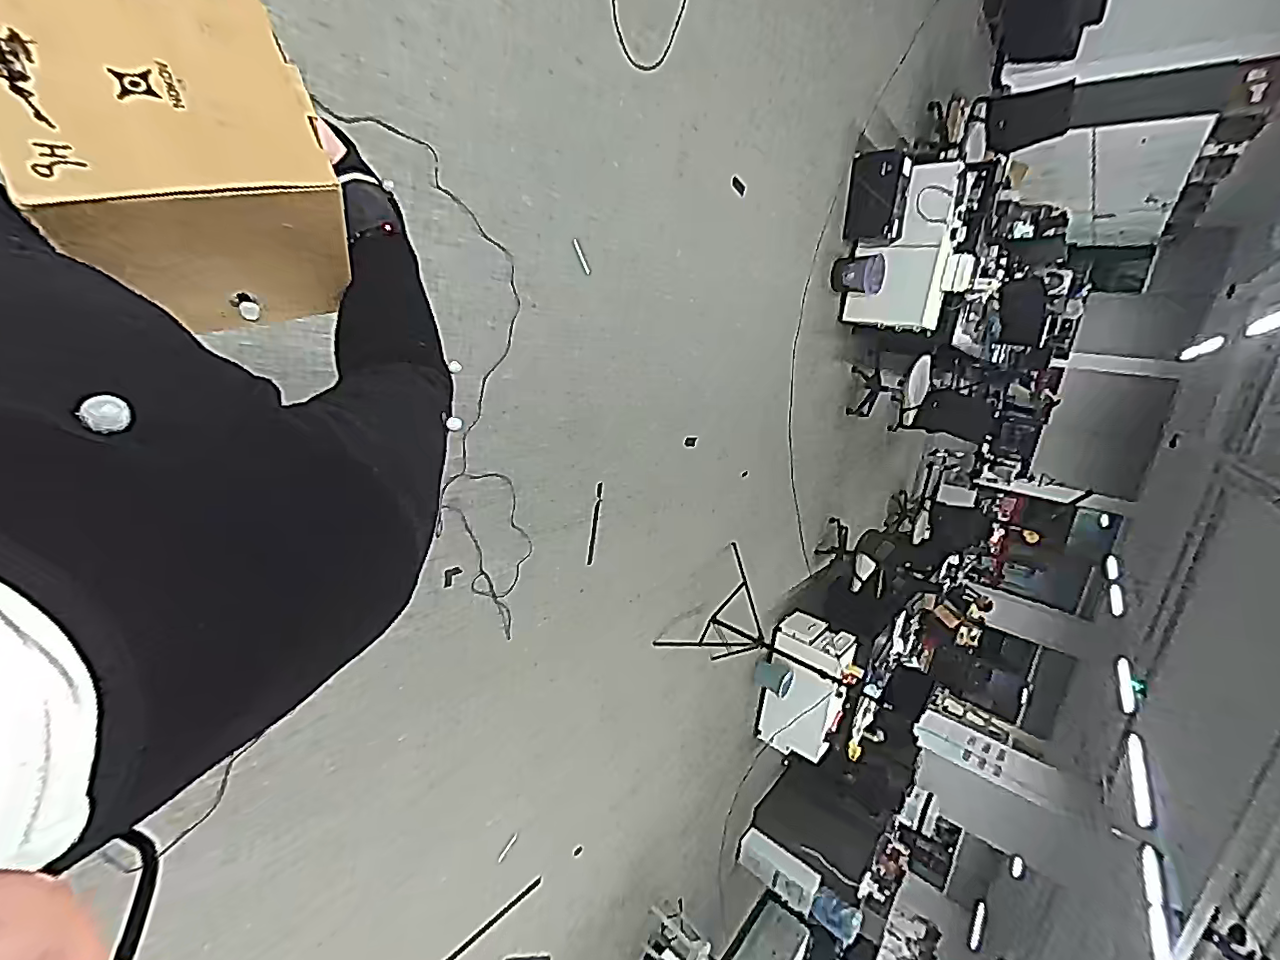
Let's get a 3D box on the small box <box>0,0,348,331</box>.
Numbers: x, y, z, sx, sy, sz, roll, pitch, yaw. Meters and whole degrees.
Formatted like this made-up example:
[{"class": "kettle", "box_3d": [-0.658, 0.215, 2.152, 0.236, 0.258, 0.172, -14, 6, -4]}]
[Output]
[{"class": "small box", "box_3d": [-0.359, -0.246, 0.443, 0.179, 0.176, 0.168, -22, 84, -28]}]
